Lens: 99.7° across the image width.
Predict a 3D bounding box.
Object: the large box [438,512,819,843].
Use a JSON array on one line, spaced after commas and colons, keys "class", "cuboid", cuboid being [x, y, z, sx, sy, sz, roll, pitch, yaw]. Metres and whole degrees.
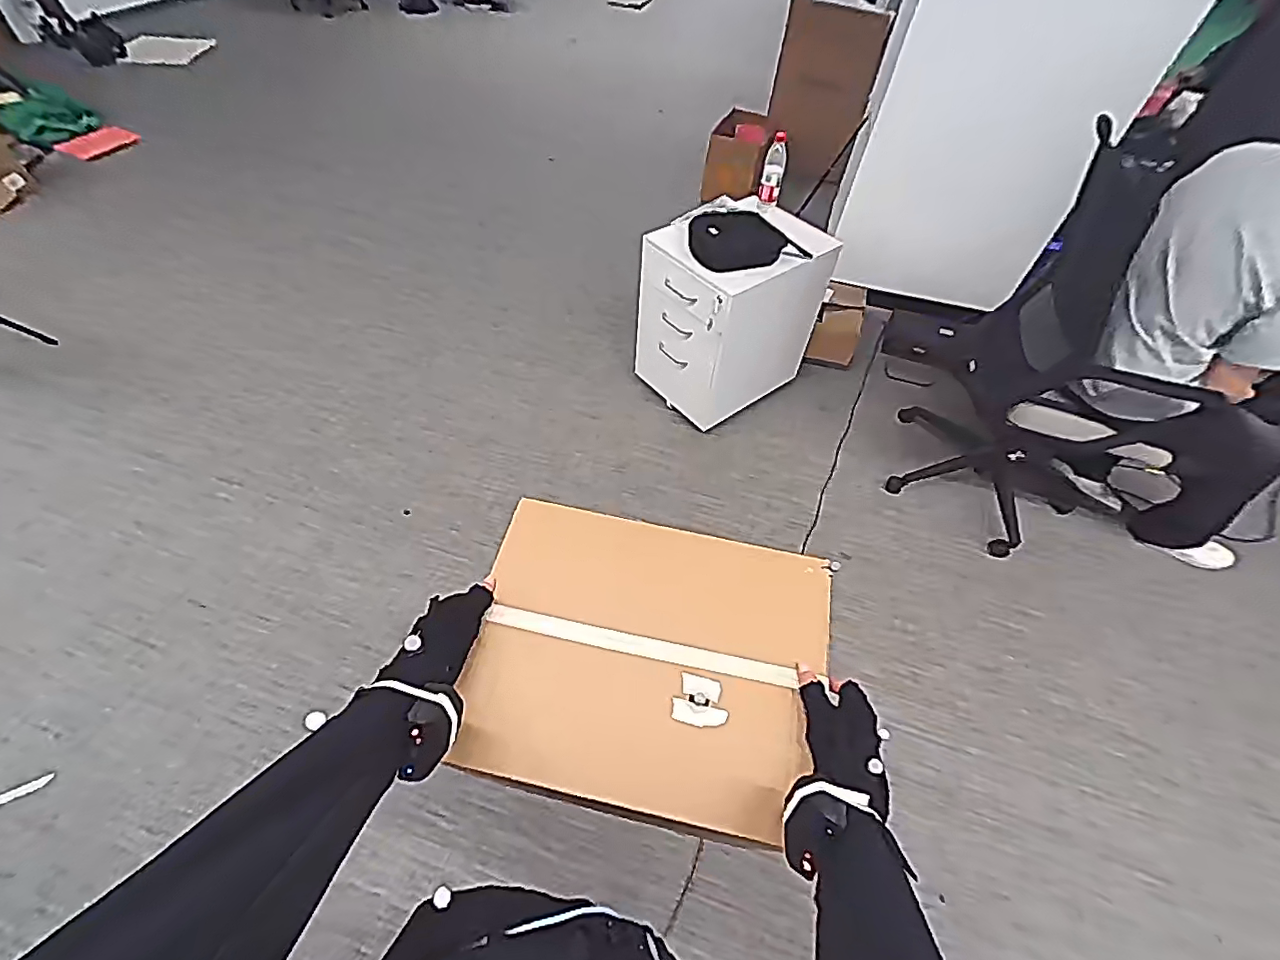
[{"class": "large box", "cuboid": [0.000, 0.282, 0.755, 0.408, 0.320, 0.320, 11, 58, 4]}]
